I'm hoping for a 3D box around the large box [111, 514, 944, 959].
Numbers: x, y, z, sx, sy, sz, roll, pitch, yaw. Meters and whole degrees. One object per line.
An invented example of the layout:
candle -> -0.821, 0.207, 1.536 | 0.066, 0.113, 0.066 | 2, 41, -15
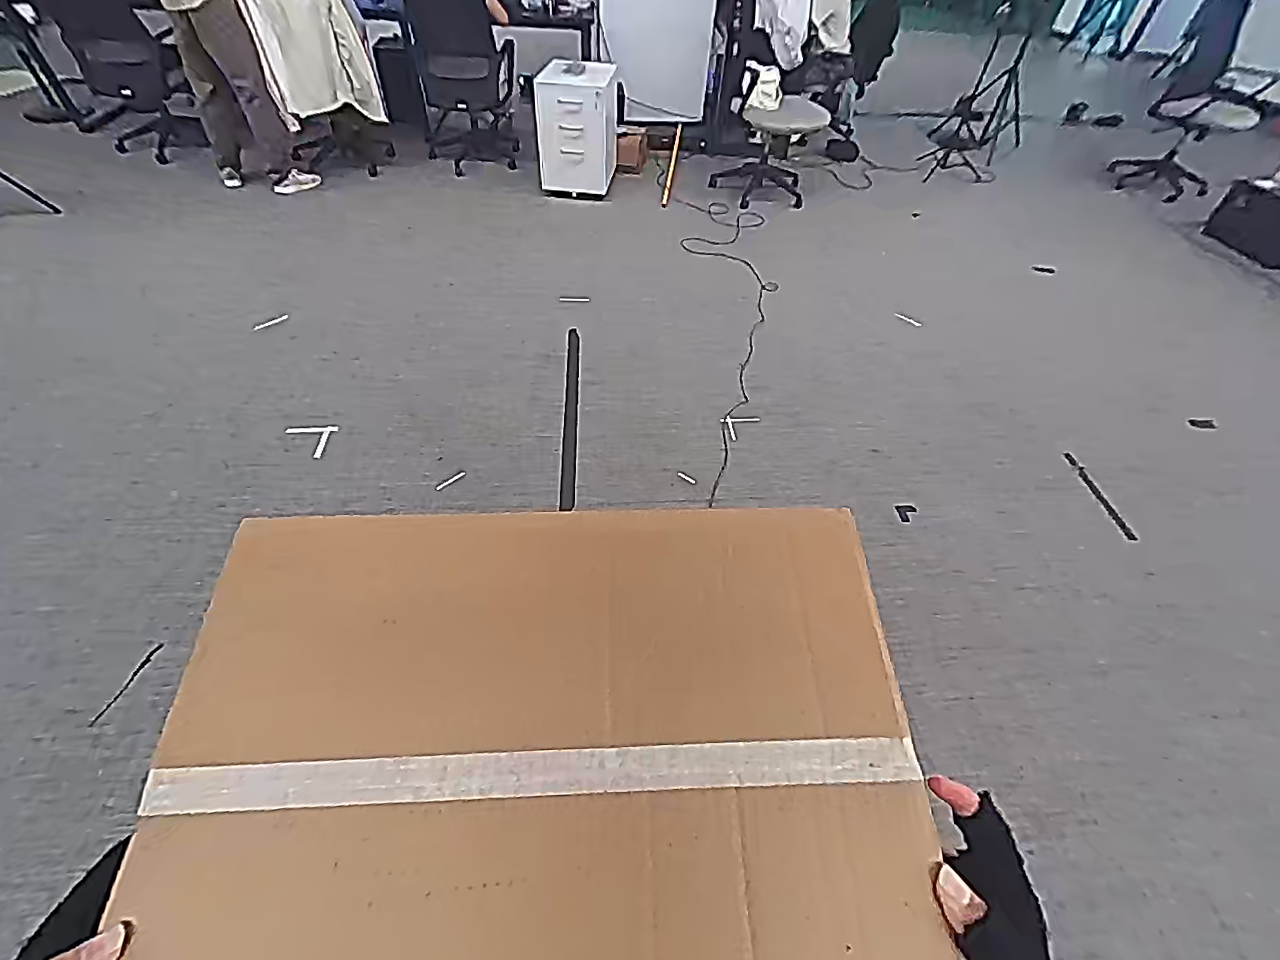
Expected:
large box -> -0.058, 0.237, 0.427 | 0.408, 0.320, 0.320 | -1, 61, -3
